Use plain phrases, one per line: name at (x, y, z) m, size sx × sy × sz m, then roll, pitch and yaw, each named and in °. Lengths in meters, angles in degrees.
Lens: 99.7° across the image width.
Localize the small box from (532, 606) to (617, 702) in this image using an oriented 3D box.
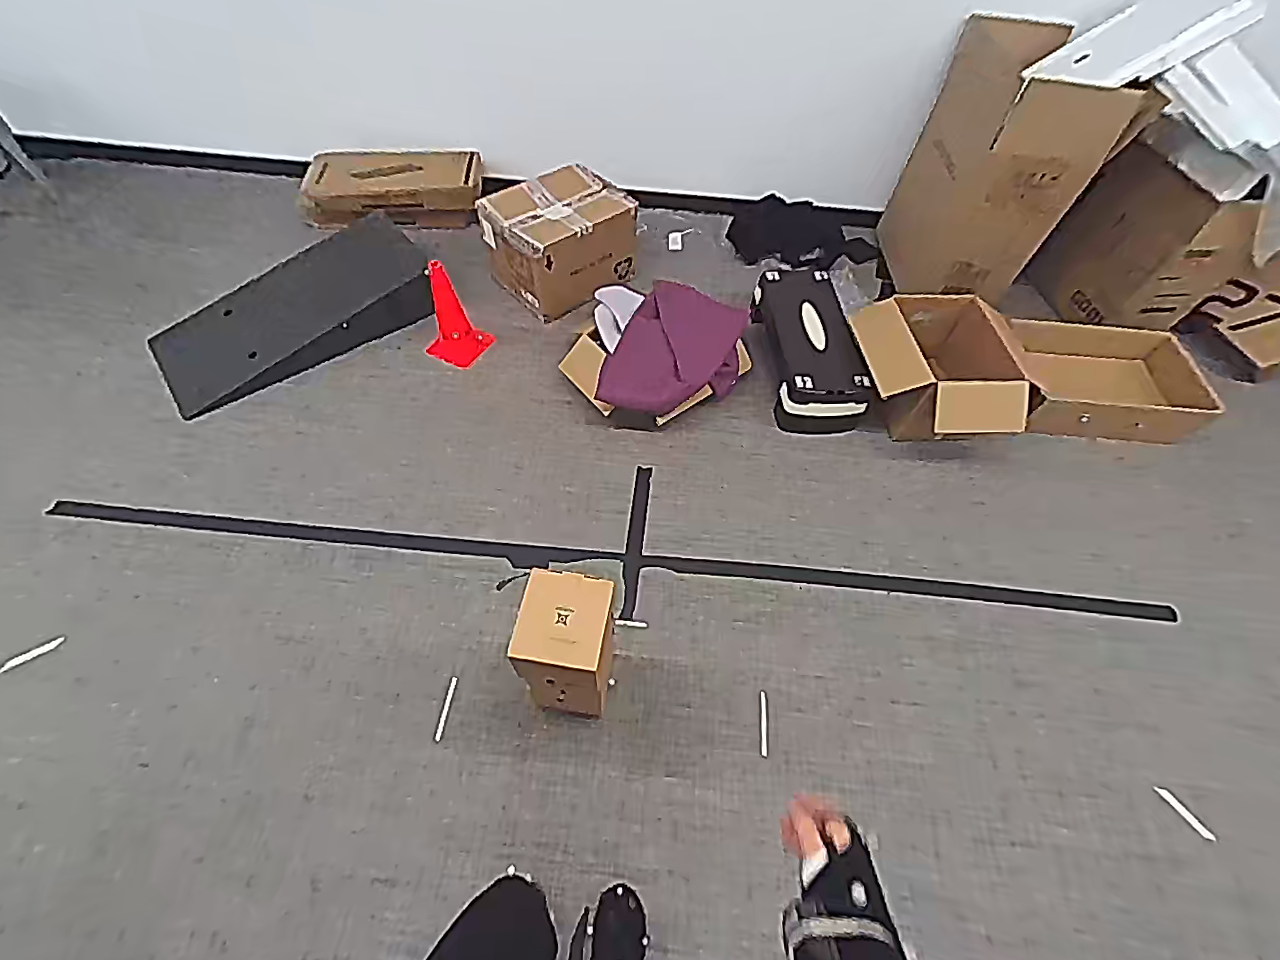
small box at (-0.147, 0.376, 1.206) m, size 0.168 × 0.176 × 0.179 m, roll 9°, pitch 57°, yaw 3°

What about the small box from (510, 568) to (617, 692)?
small box at (-0.142, 0.297, 1.062) m, size 0.168 × 0.176 × 0.179 m, roll 8°, pitch 58°, yaw 4°

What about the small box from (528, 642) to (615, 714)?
small box at (-0.162, 0.470, 1.340) m, size 0.179 × 0.176 × 0.168 m, roll 9°, pitch 57°, yaw 3°
